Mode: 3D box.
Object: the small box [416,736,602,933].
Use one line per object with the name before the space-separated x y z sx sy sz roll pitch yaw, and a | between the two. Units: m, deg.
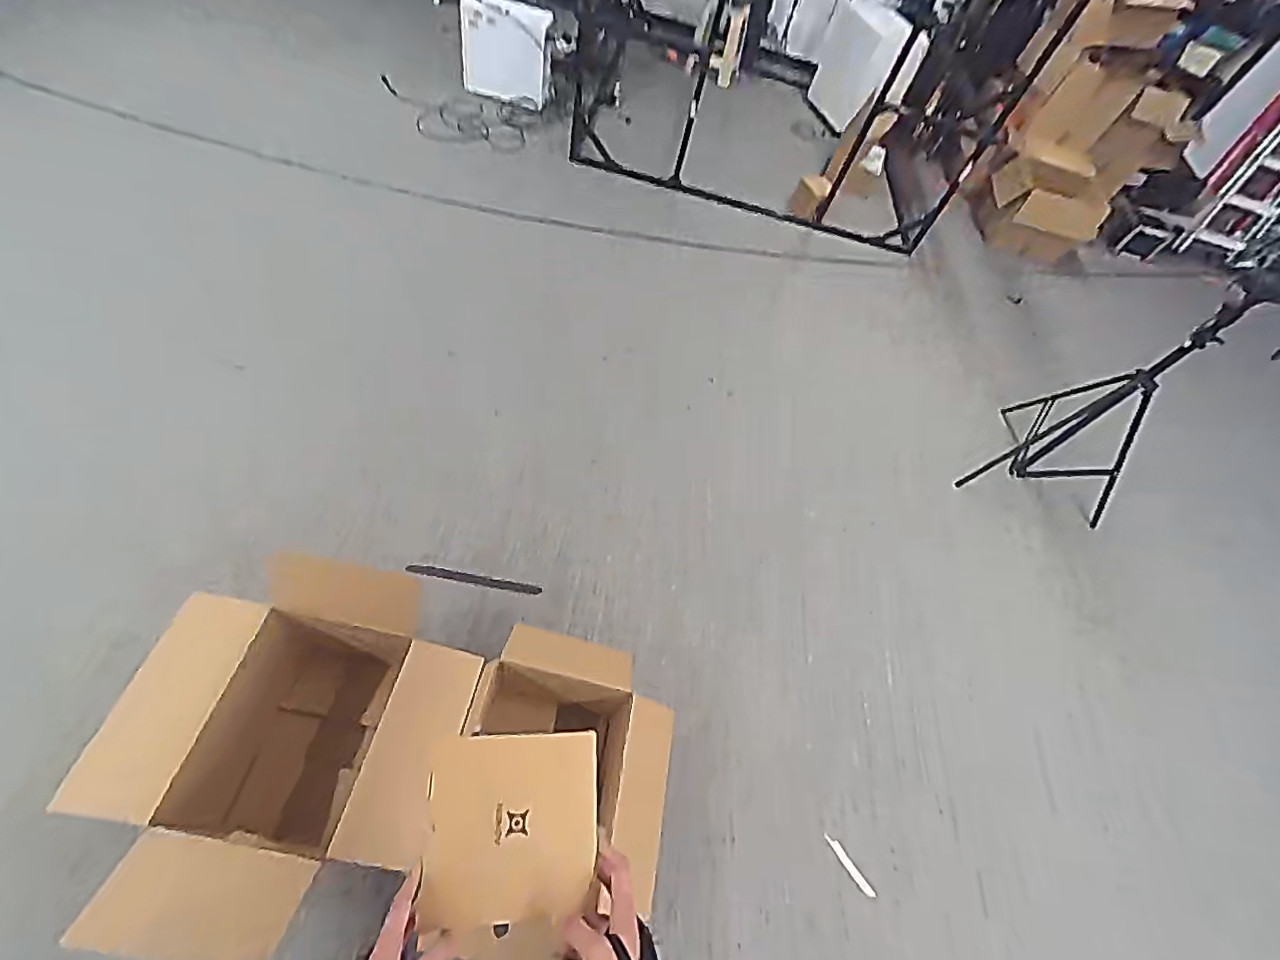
small box | -0.138 0.388 0.622 0.179 0.176 0.168 1 63 -8
